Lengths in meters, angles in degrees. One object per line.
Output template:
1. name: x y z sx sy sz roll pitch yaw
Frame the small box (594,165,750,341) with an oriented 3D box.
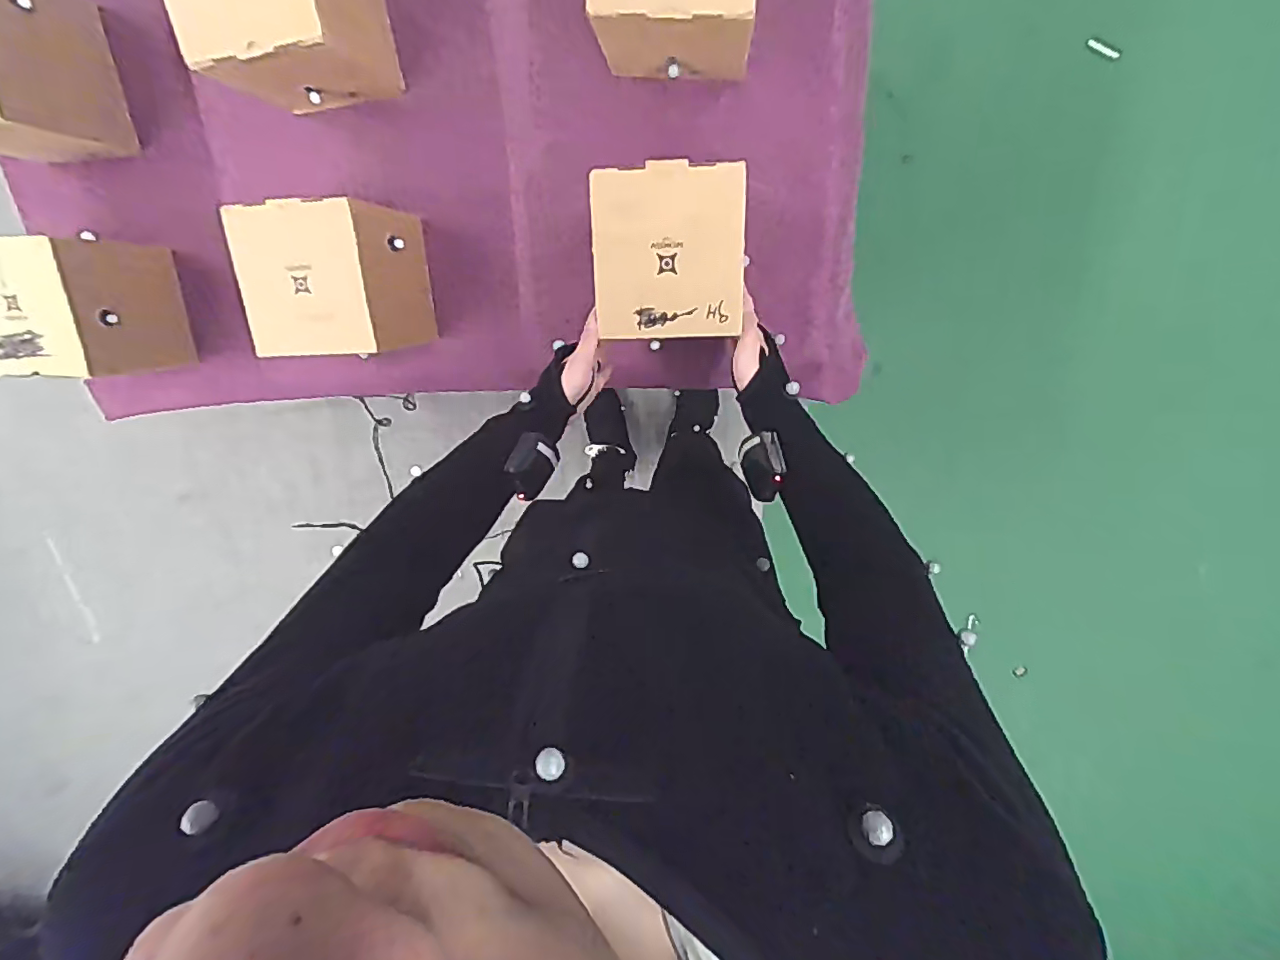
1. small box: 0.039 -0.264 0.660 0.168 0.176 0.179 0 108 5

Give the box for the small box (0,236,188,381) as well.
1. small box: -0.794 -0.241 0.762 0.168 0.176 0.179 2 108 4

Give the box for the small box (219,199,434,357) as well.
1. small box: -0.397 -0.261 0.719 0.168 0.176 0.179 0 109 6

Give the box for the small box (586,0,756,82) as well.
1. small box: 0.042 -0.554 0.568 0.168 0.176 0.179 6 111 4

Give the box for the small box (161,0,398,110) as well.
1. small box: -0.408 -0.555 0.614 0.168 0.176 0.179 -5 111 7
